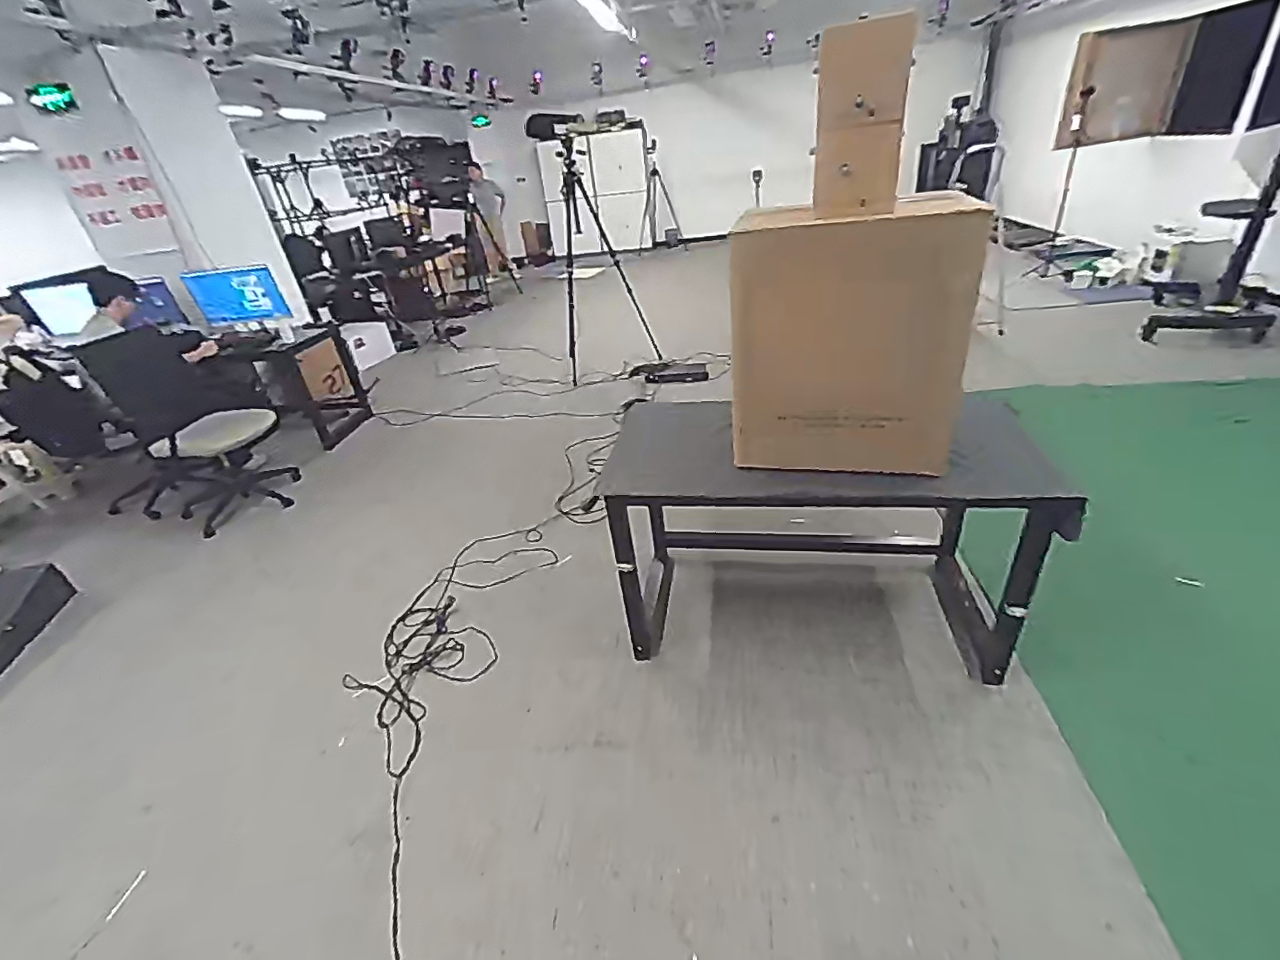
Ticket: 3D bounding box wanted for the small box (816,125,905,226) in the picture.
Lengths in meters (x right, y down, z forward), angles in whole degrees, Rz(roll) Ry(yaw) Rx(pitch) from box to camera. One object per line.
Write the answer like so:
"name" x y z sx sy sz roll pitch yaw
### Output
"small box" 0.477 -0.661 1.182 0.168 0.176 0.179 4 34 19
